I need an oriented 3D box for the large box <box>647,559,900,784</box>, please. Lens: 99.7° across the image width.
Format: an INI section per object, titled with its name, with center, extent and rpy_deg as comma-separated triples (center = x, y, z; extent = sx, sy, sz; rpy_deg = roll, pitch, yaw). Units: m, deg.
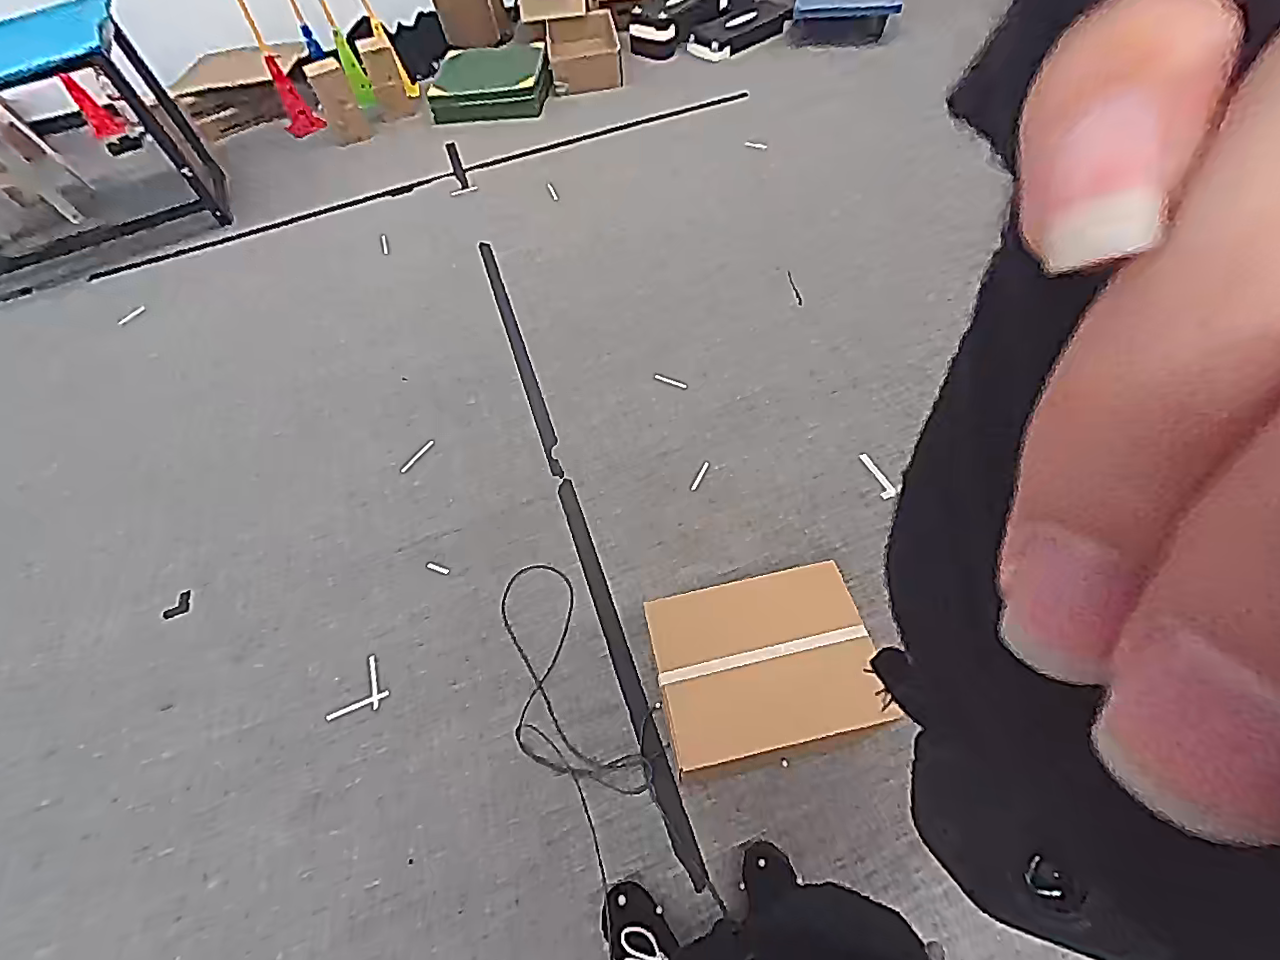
[large box]
center = 0.248, 0.414, 1.148
extent = 0.408, 0.320, 0.320
rpy_deg = -13, 57, -3
